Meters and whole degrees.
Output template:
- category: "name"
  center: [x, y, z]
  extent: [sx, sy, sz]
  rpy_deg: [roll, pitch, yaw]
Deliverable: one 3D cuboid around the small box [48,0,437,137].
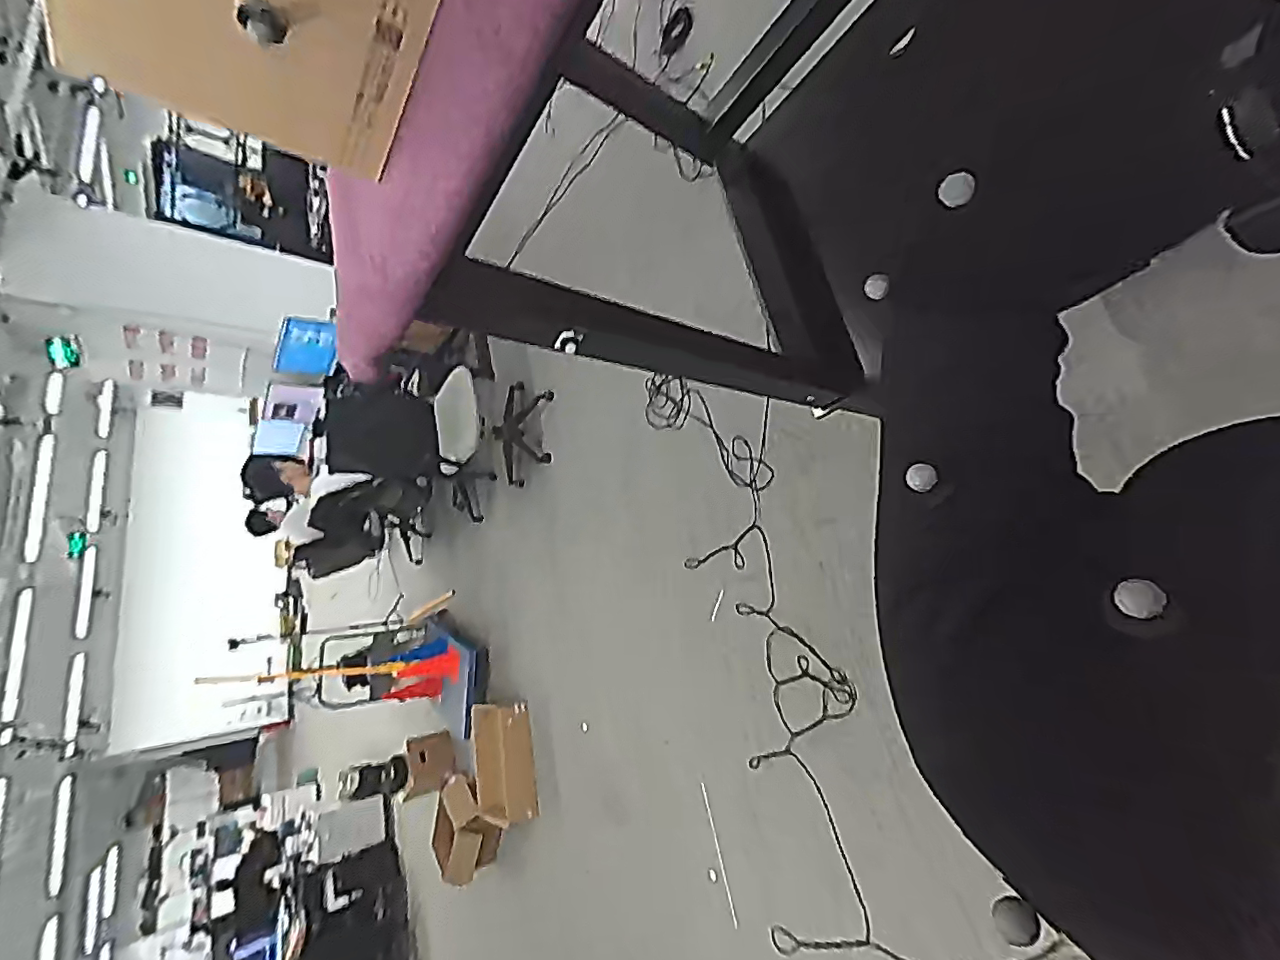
- category: "small box"
  center: [-0.221, -0.343, 0.314]
  extent: [0.168, 0.176, 0.179]
  rpy_deg: [-33, 63, 43]
